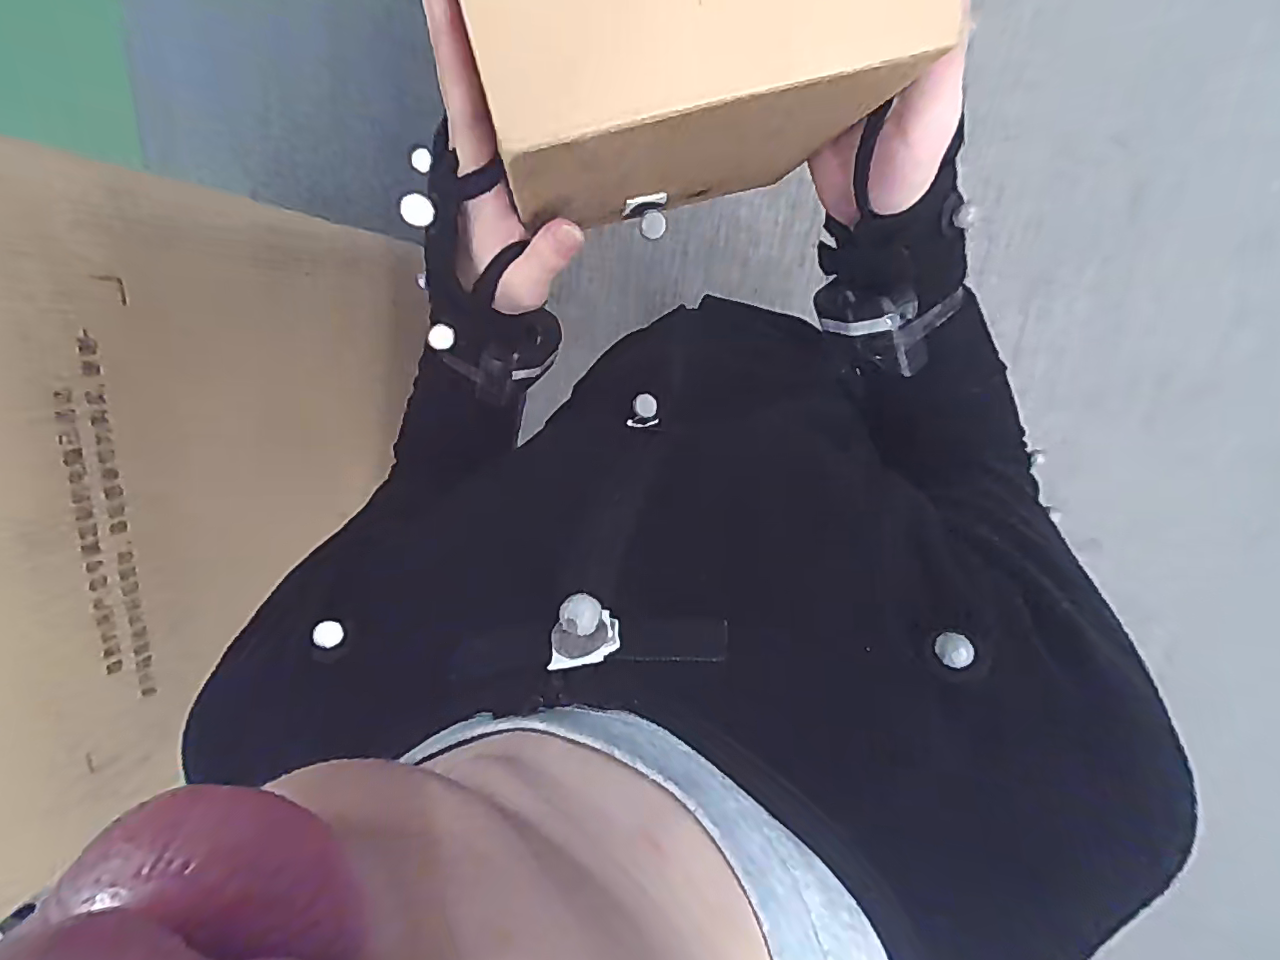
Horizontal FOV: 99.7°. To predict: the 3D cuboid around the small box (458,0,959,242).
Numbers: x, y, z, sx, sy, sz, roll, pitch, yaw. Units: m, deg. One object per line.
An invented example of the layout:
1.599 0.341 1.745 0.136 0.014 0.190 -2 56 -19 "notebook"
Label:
0.002 -0.226 0.238 0.168 0.176 0.179 -15 105 -4 "small box"
